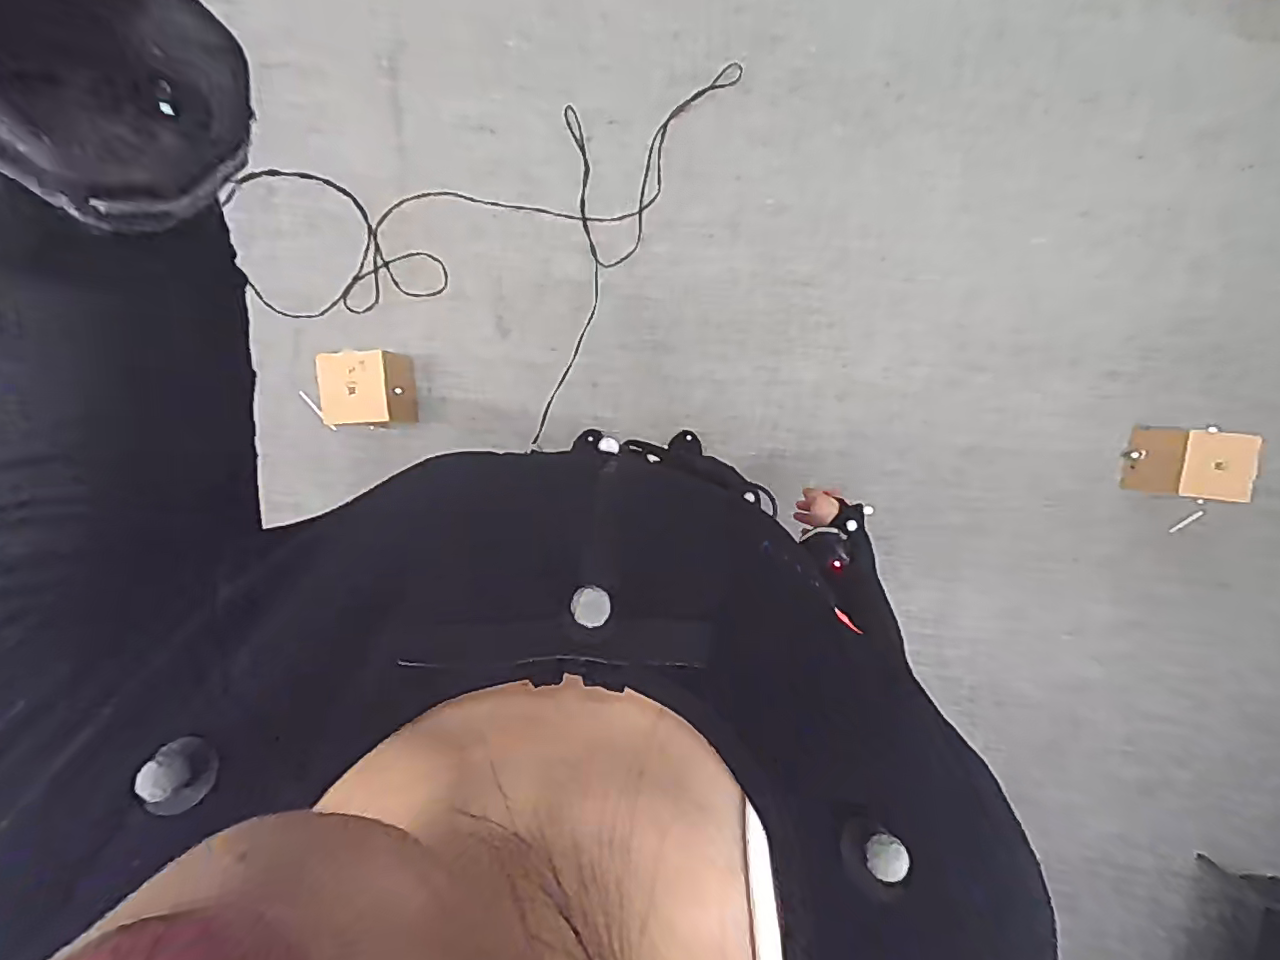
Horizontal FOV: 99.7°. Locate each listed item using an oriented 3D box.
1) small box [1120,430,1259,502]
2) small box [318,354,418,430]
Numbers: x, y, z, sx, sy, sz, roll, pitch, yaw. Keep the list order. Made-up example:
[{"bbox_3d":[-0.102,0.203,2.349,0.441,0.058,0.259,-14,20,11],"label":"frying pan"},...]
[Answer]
[{"bbox_3d":[1.413,-0.041,1.401,0.179,0.176,0.168,5,94,1],"label":"small box"},{"bbox_3d":[-0.689,-0.222,1.389,0.168,0.176,0.179,-4,95,1],"label":"small box"}]
